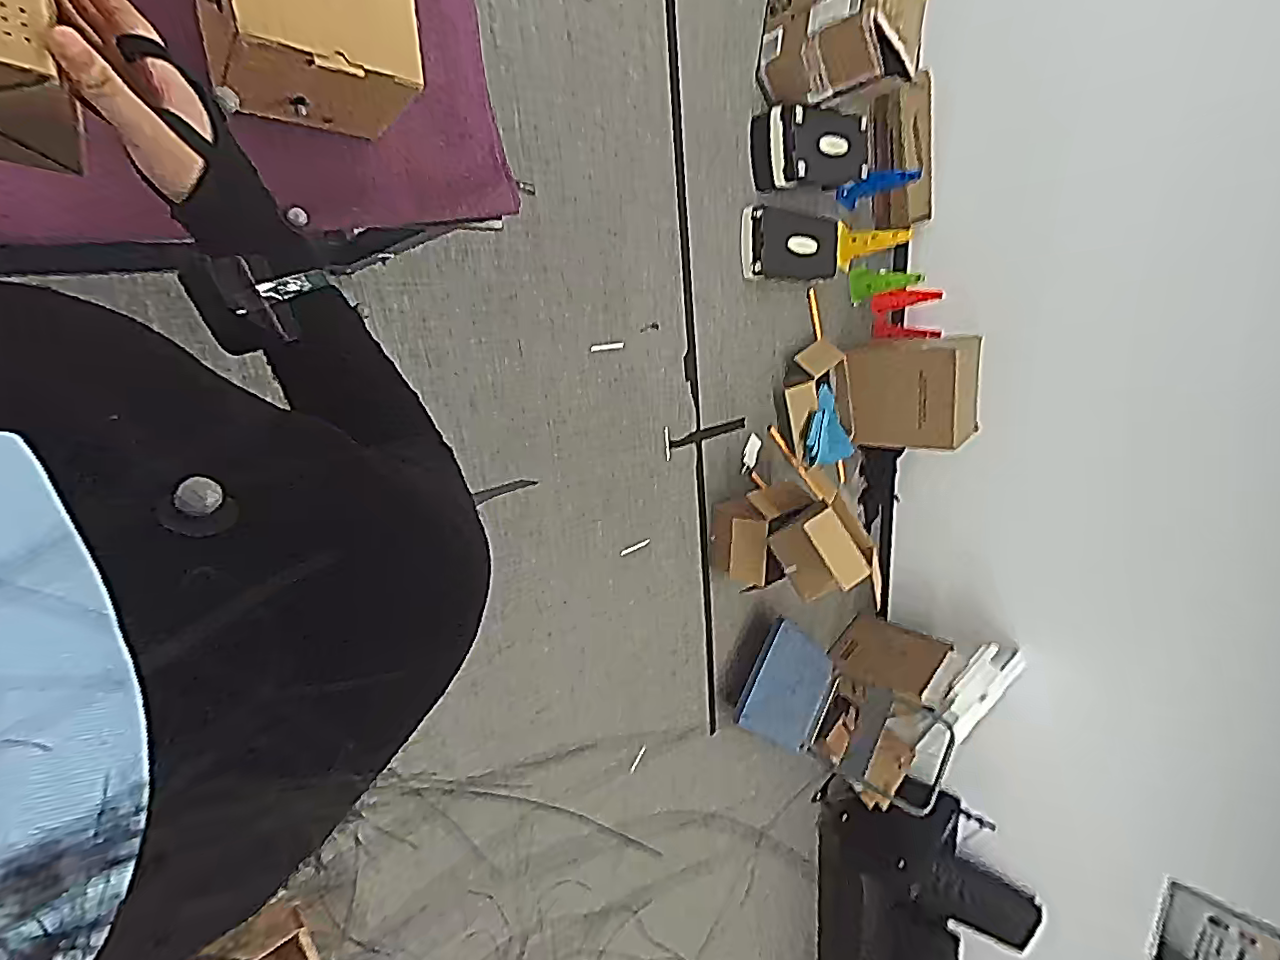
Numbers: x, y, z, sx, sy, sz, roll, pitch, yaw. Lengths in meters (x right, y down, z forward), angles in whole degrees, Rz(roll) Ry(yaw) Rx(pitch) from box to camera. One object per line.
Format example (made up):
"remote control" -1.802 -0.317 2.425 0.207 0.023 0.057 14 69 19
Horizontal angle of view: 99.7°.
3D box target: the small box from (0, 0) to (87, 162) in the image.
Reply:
"small box" -0.412 -0.292 0.276 0.168 0.179 0.176 -5 101 -42

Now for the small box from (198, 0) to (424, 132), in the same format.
"small box" -0.346 -0.498 0.557 0.168 0.176 0.179 -15 108 -41
